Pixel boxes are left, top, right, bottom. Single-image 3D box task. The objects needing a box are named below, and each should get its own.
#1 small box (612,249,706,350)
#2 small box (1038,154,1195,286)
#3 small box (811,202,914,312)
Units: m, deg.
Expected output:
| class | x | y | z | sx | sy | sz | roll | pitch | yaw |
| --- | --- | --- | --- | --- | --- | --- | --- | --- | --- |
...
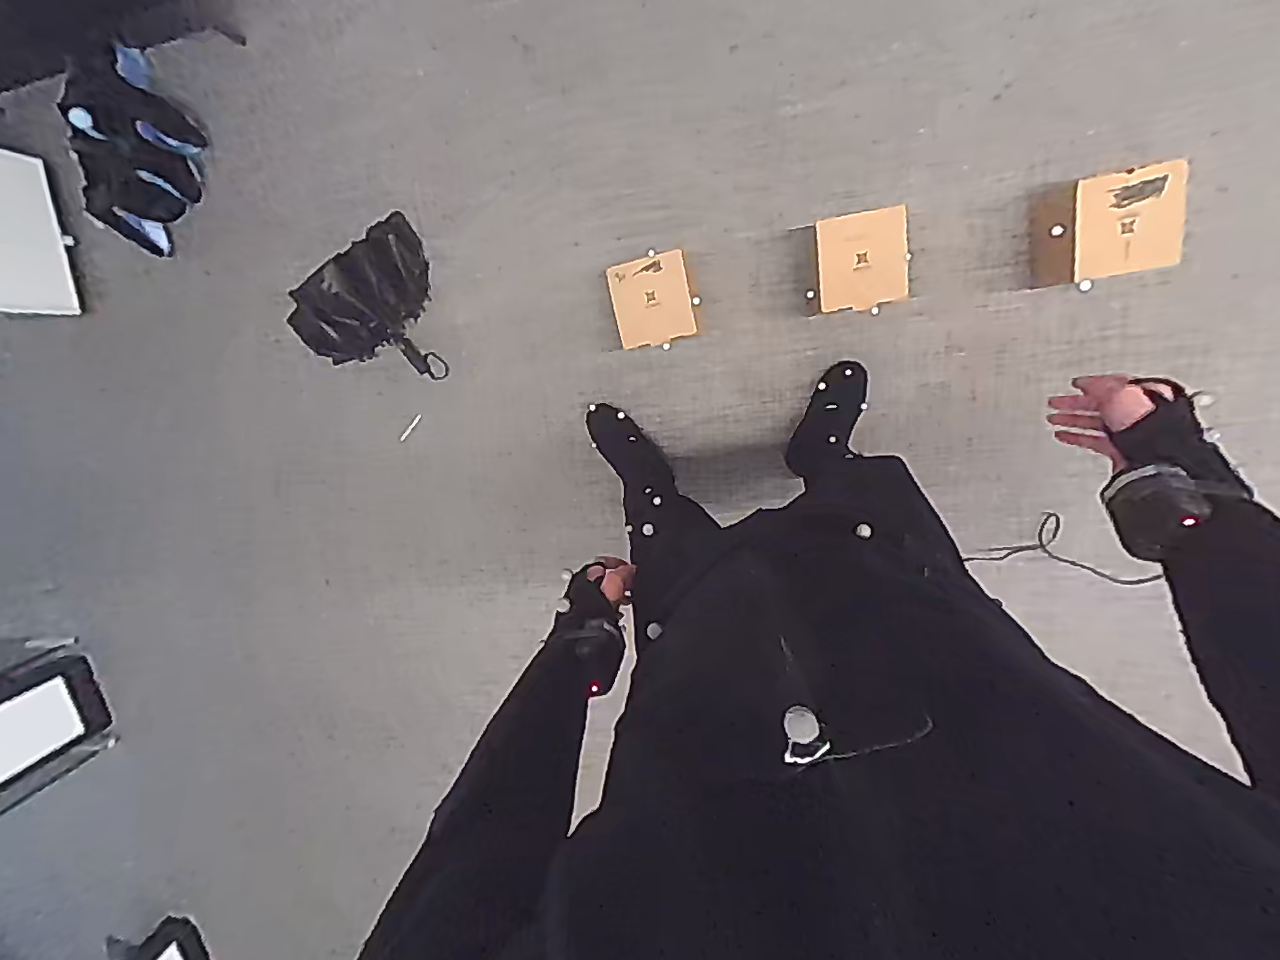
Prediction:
| class | x | y | z | sx | sy | sz | roll | pitch | yaw |
| --- | --- | --- | --- | --- | --- | --- | --- | --- | --- |
| small box | 0.050 | -0.400 | 1.209 | 0.168 | 0.176 | 0.179 | -10 | 104 | 13 |
| small box | 0.882 | -0.476 | 1.018 | 0.168 | 0.176 | 0.179 | -7 | 104 | 14 |
| small box | 0.453 | -0.448 | 1.118 | 0.168 | 0.176 | 0.179 | -7 | 102 | 12 |
